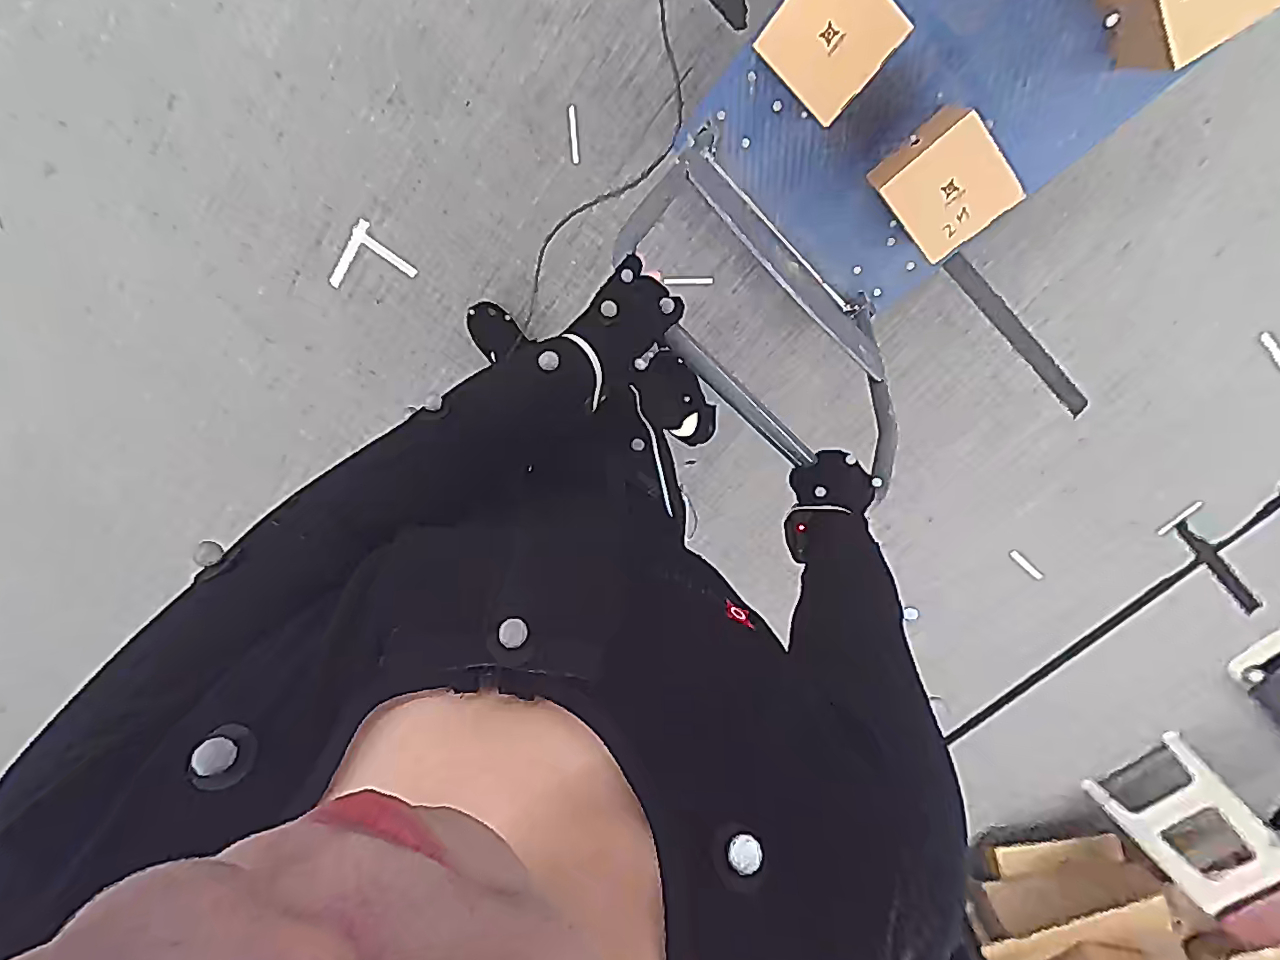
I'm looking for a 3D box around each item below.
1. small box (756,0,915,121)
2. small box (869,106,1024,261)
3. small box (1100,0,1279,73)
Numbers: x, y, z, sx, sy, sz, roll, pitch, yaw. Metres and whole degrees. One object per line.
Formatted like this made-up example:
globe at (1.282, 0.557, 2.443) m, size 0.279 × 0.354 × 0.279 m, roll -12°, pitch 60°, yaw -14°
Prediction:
small box at (0.307, -0.729, 0.884) m, size 0.179 × 0.176 × 0.168 m, roll 37°, pitch 126°, yaw -17°
small box at (0.539, -0.536, 0.976) m, size 0.179 × 0.176 × 0.168 m, roll 43°, pitch 125°, yaw -19°
small box at (0.803, -0.725, 0.767) m, size 0.179 × 0.176 × 0.168 m, roll -26°, pitch 117°, yaw 30°
